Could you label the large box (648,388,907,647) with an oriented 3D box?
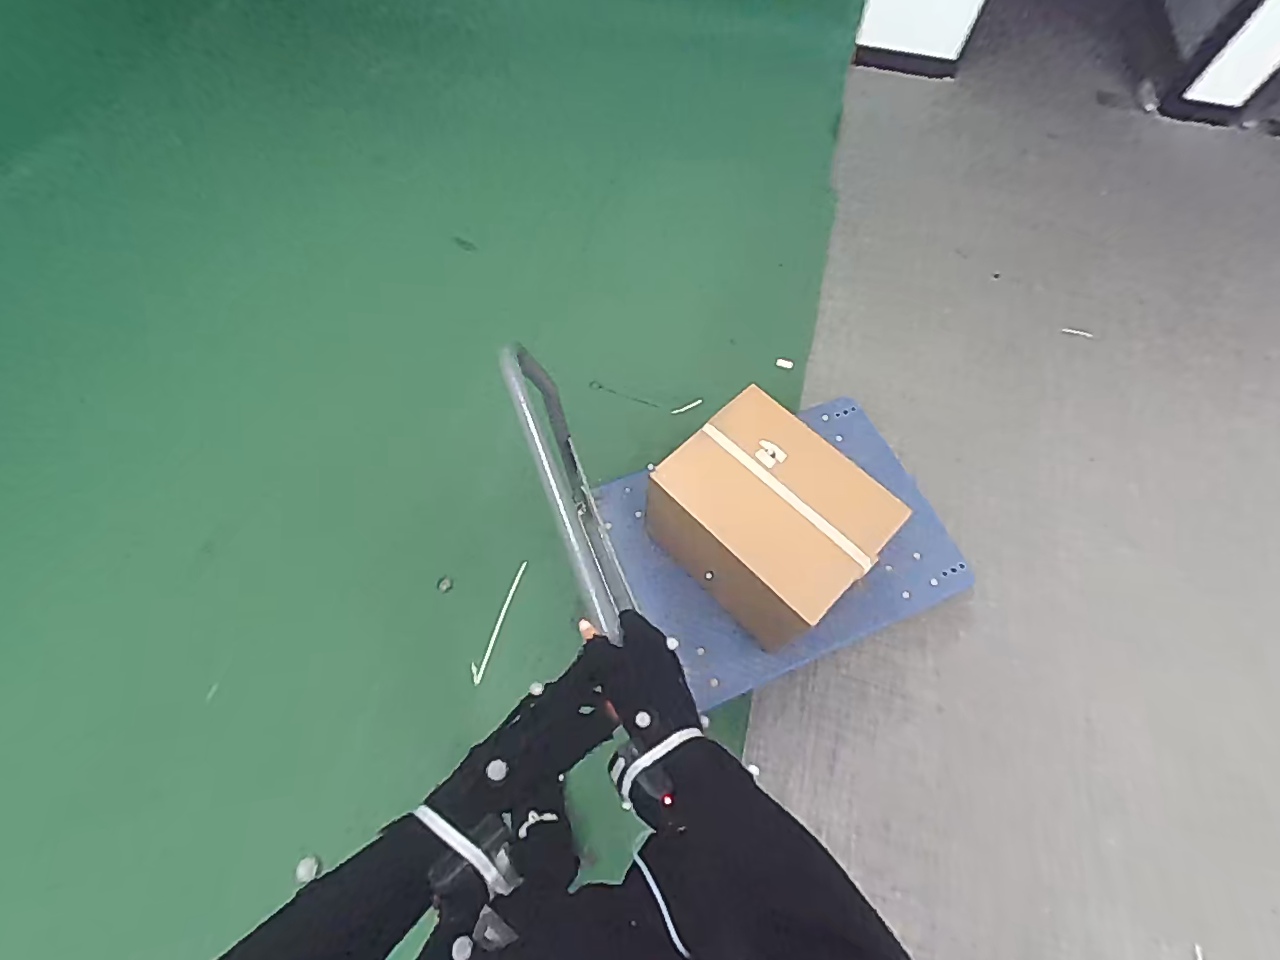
[{"bbox_3d":[0.261,0.090,1.167,0.320,0.320,0.408,-40,70,-19],"label":"large box"}]
